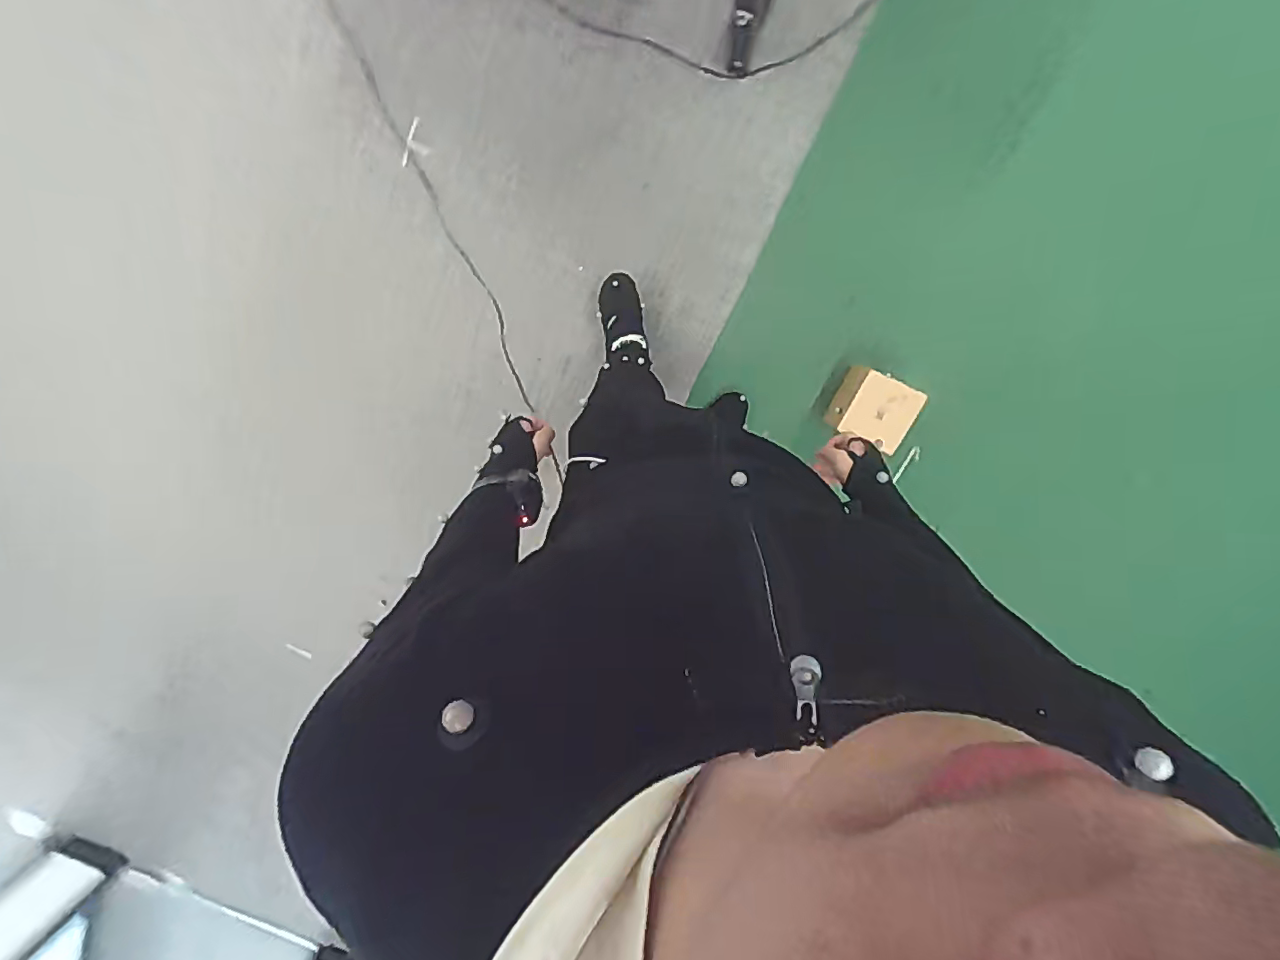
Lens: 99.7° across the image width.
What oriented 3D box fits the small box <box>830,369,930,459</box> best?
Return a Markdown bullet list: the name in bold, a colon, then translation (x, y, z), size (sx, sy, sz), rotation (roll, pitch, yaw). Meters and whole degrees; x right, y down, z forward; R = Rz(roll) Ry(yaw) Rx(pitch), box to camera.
- **small box**: translation (0.632, -0.183, 1.455), size (0.168, 0.176, 0.179), rotation (26, 106, -1)
